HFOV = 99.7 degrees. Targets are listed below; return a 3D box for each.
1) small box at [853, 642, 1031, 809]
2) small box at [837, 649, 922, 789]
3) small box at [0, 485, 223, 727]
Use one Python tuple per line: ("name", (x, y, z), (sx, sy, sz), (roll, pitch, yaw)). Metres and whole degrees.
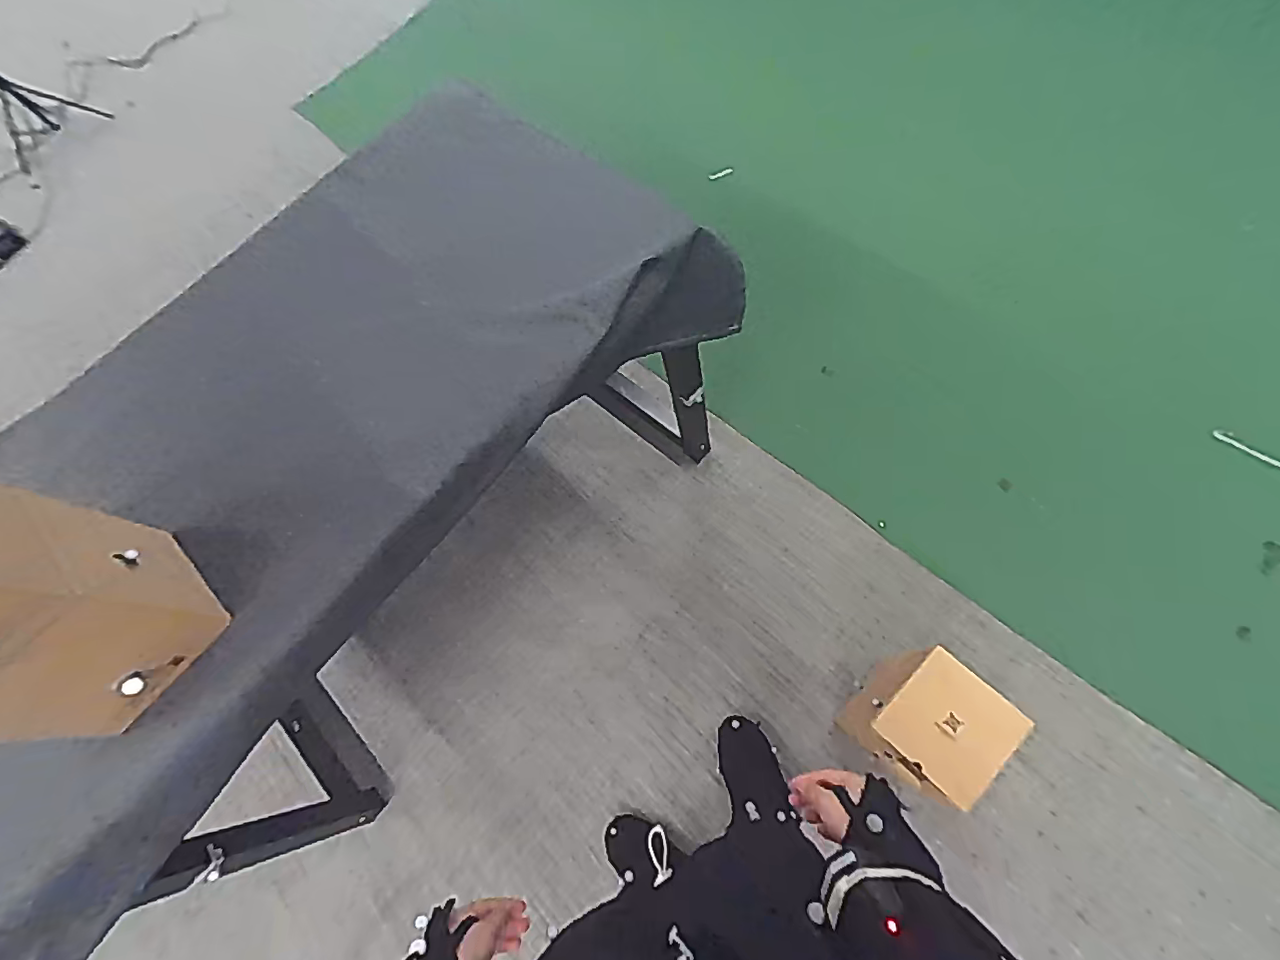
("small box", (0.481, 0.394, 0.894), (0.179, 0.176, 0.168), (-45, 69, -9))
("small box", (0.503, 0.453, 1.046), (0.168, 0.176, 0.179), (40, 81, 21))
("small box", (-0.603, 0.140, 0.567), (0.179, 0.176, 0.168), (37, 79, 20))
